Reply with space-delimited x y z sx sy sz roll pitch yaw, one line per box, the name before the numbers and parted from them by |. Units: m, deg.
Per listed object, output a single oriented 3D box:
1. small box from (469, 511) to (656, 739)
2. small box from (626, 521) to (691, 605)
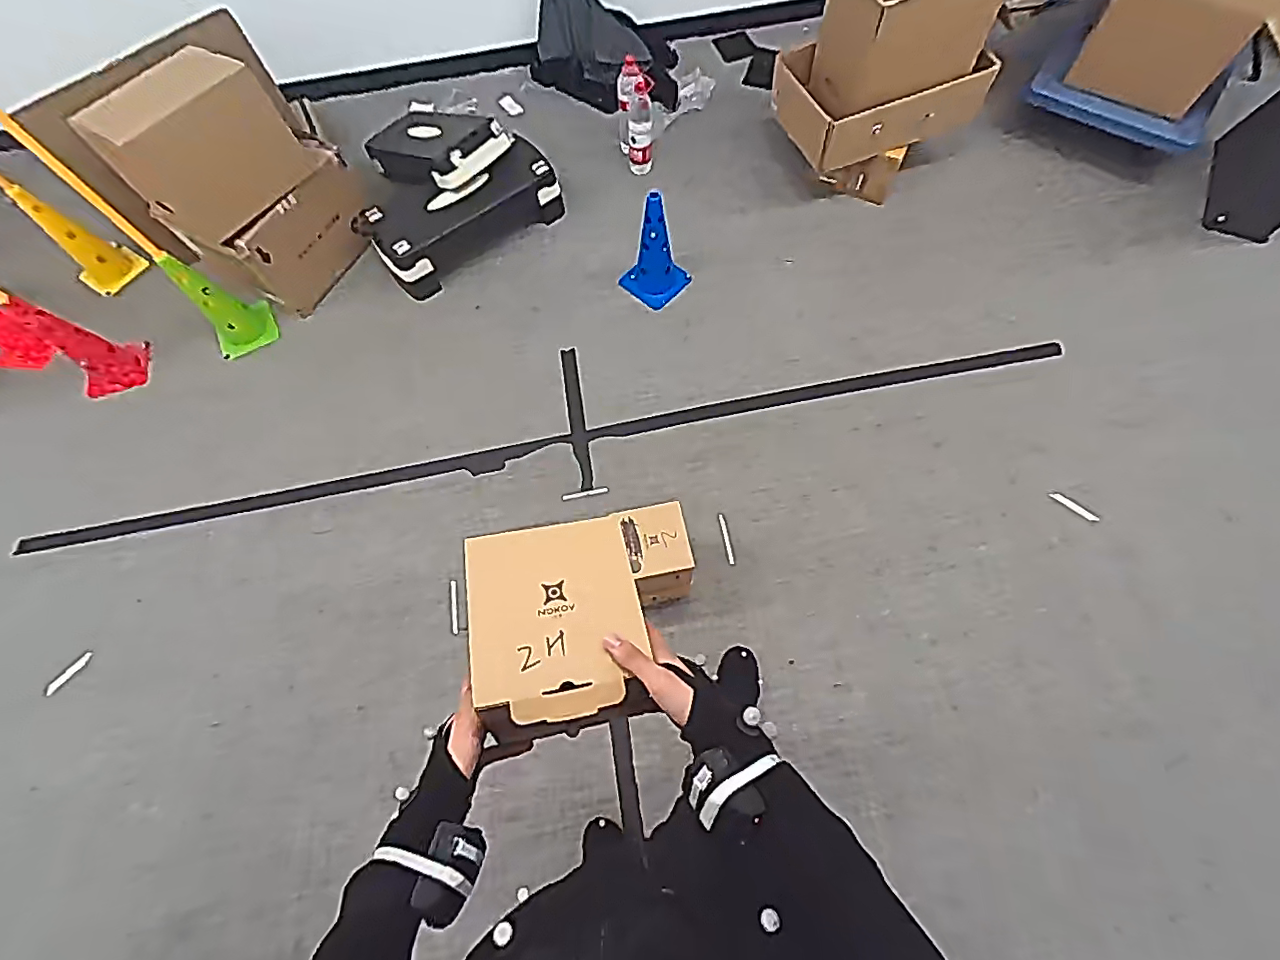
small box | -0.088 0.159 0.590 0.168 0.176 0.179 -8 55 -10
small box | 0.038 0.233 1.465 0.168 0.176 0.179 -14 68 -3
